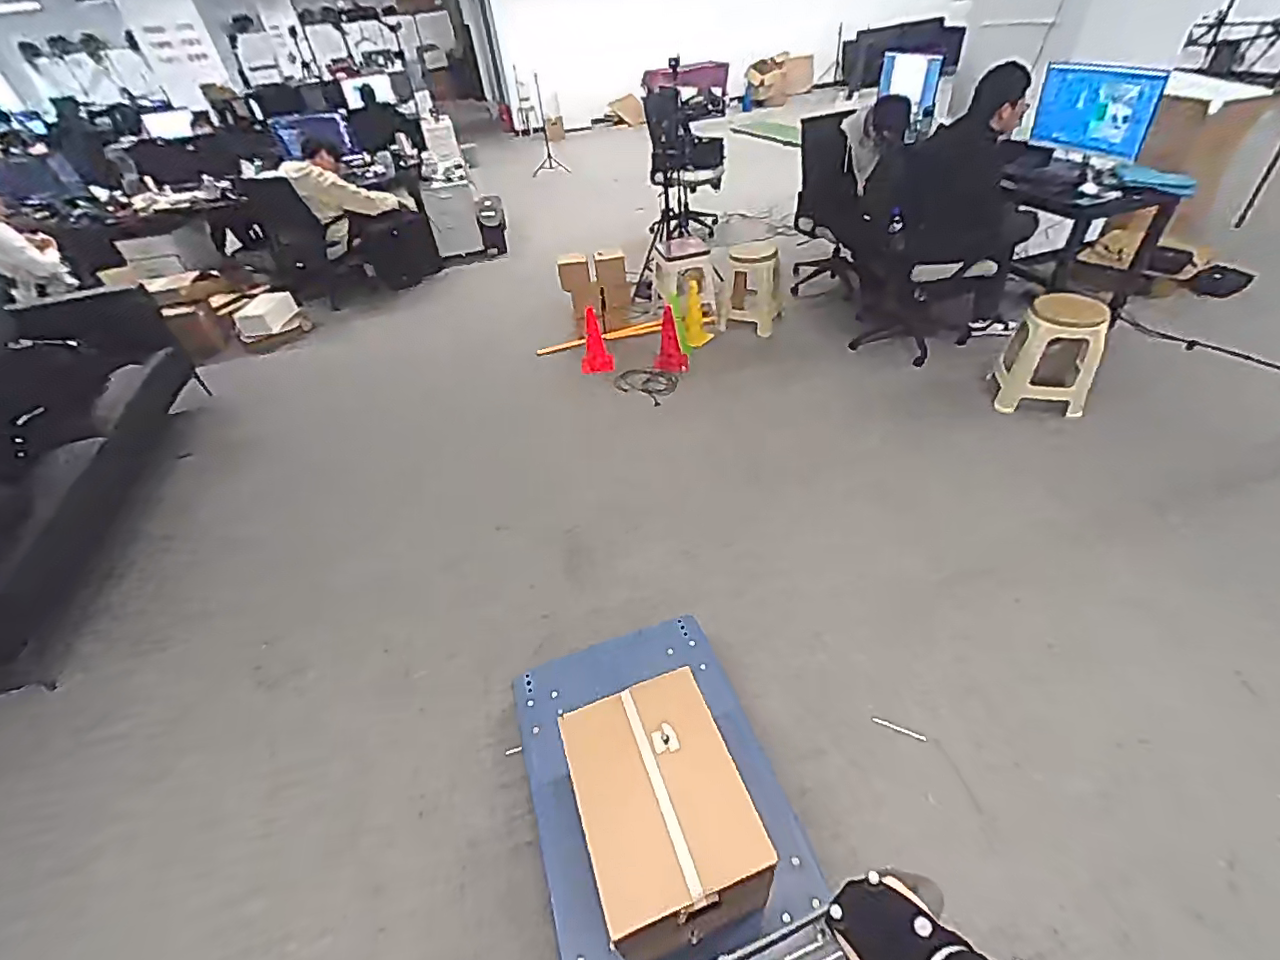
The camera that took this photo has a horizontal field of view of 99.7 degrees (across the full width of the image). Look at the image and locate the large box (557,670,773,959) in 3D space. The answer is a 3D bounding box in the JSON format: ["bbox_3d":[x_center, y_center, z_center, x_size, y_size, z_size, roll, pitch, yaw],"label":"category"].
[{"bbox_3d":[0.047,0.707,1.165,0.320,0.320,0.408,-18,42,-11],"label":"large box"}]
